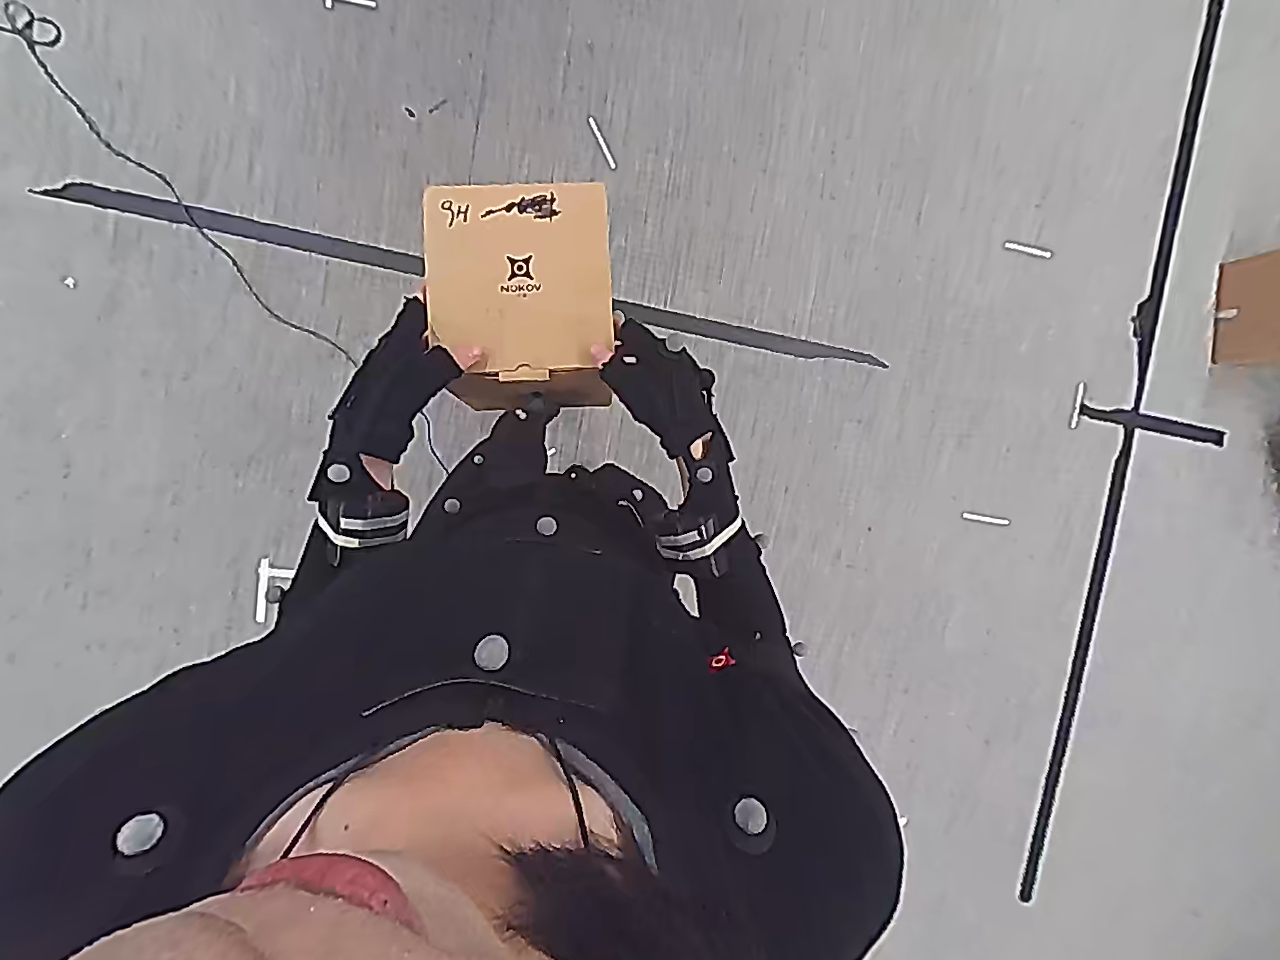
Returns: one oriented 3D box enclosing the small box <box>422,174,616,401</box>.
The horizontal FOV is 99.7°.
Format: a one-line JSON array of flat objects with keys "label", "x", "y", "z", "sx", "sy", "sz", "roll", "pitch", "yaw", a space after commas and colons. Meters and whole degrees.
[{"label": "small box", "x": -0.110, "y": -0.179, "z": 0.554, "sx": 0.168, "sy": 0.176, "sz": 0.179, "roll": -3, "pitch": 88, "yaw": -4}]
